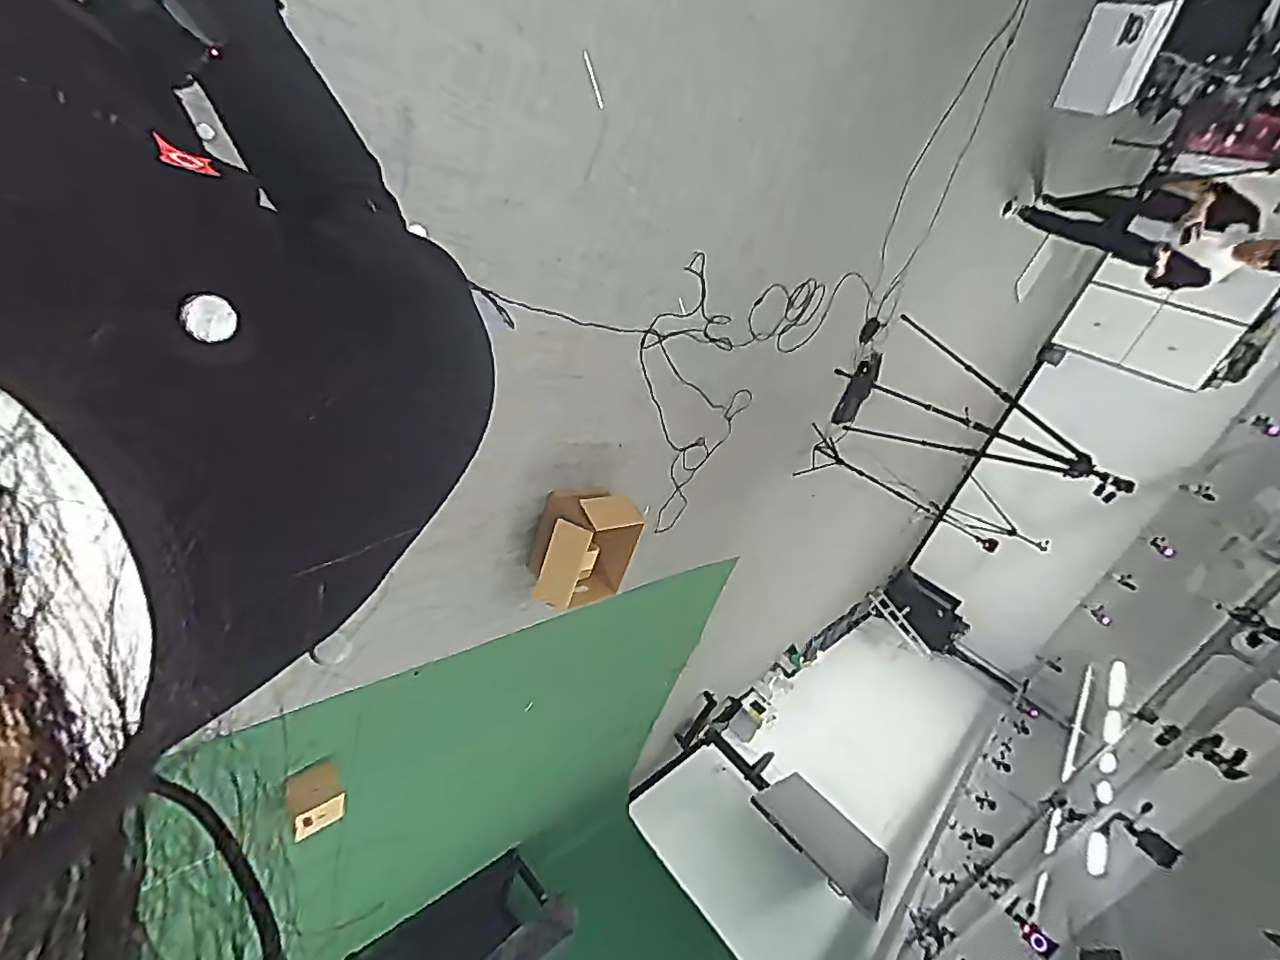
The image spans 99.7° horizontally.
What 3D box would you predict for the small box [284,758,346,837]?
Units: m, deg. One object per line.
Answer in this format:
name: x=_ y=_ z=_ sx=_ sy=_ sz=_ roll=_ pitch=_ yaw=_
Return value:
small box: x=-1.296 y=1.258 z=2.151 sx=0.179 sy=0.176 sz=0.168 roll=-13 pitch=130 yaw=-46
